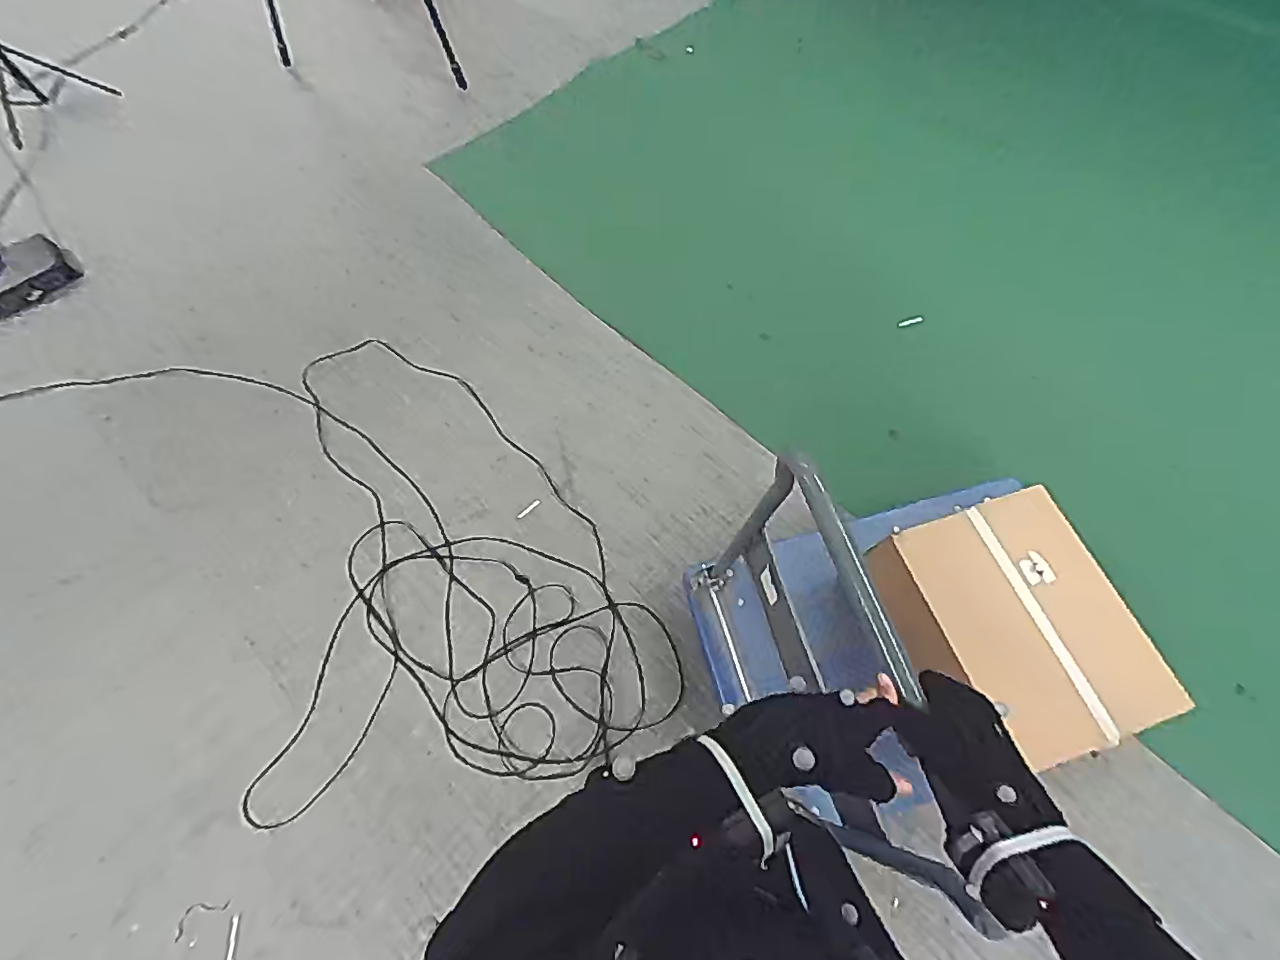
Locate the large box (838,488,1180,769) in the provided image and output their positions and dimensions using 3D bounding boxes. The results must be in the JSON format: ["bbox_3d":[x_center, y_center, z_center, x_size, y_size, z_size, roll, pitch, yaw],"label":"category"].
[{"bbox_3d":[0.652,0.290,1.049,0.320,0.320,0.408,-17,65,-7],"label":"large box"}]
